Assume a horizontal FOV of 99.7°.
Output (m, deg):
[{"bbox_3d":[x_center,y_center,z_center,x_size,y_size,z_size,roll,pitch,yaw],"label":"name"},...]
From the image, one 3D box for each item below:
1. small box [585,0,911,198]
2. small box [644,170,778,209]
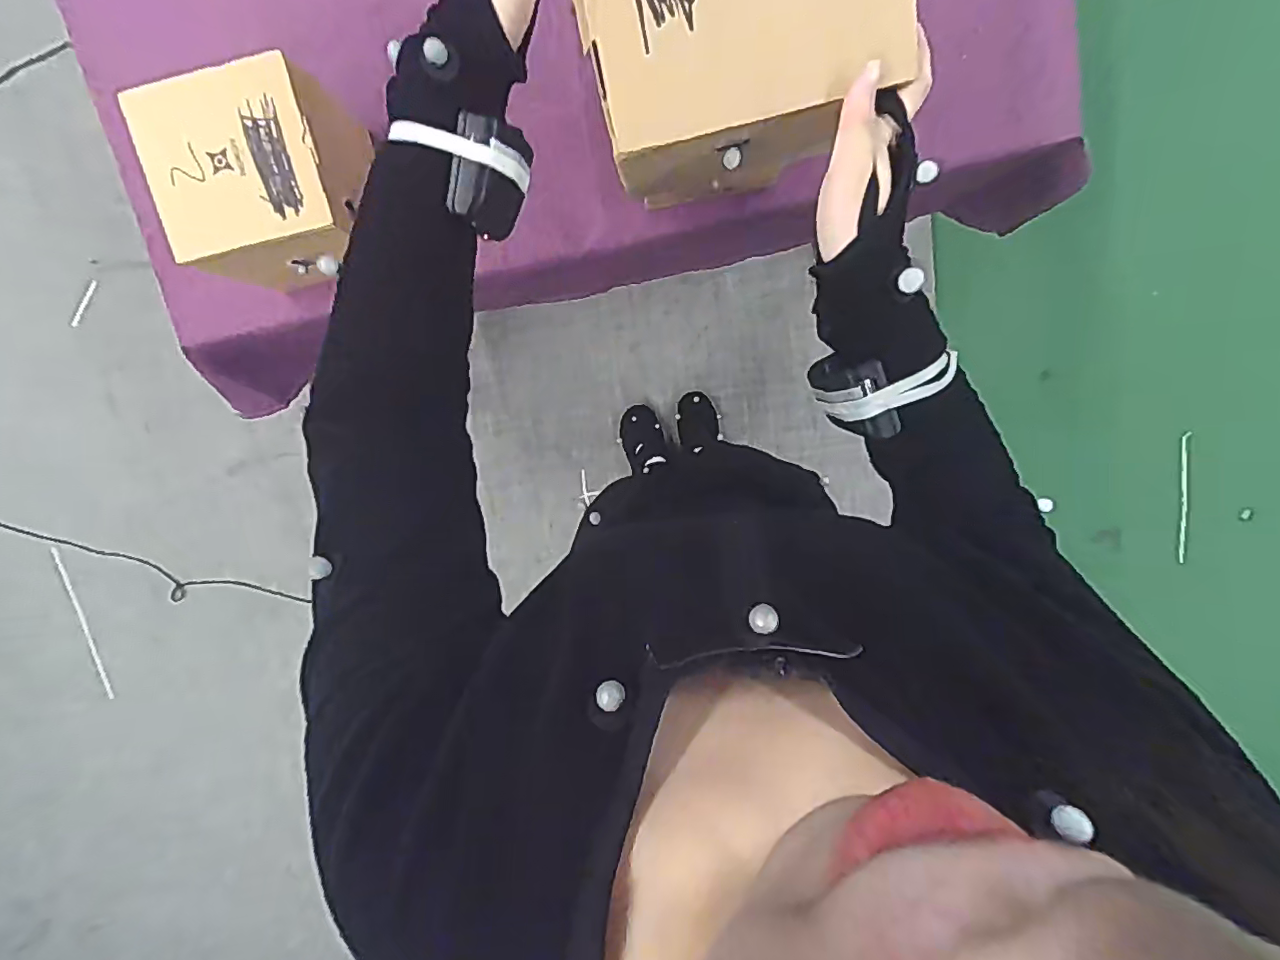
[{"bbox_3d":[0.057,-0.307,0.366,0.179,0.176,0.168,-10,109,4],"label":"small box"},{"bbox_3d":[0.073,-0.424,0.608,0.168,0.176,0.179,-9,99,1],"label":"small box"}]
